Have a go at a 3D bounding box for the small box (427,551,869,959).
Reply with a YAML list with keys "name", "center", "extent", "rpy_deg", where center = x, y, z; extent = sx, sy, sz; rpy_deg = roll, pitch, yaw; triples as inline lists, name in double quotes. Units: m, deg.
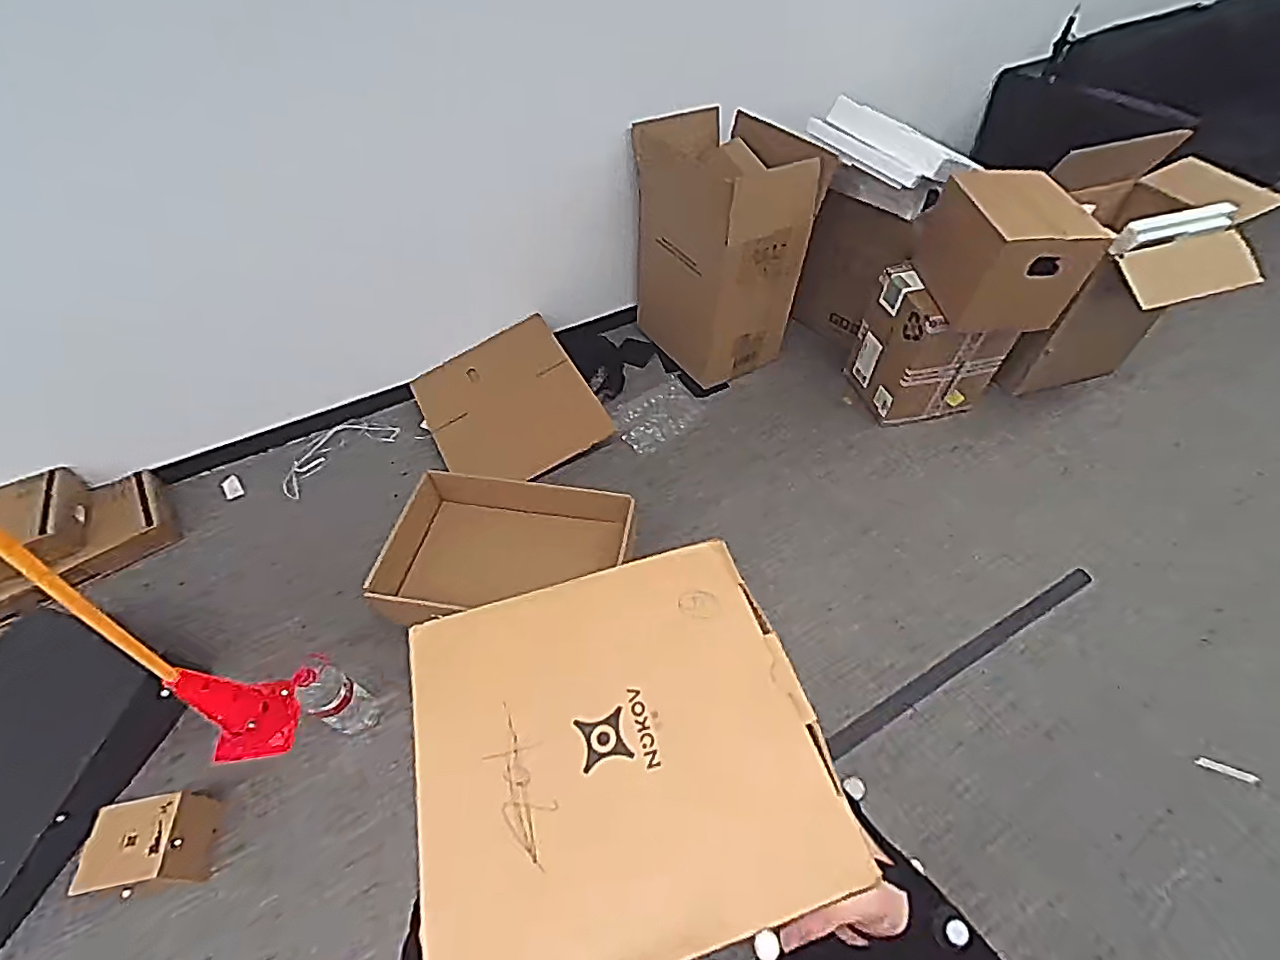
- name: "small box"
  center: [-0.006, 0.171, 0.318]
  extent: [0.179, 0.176, 0.168]
  rpy_deg: [-15, 52, -7]
